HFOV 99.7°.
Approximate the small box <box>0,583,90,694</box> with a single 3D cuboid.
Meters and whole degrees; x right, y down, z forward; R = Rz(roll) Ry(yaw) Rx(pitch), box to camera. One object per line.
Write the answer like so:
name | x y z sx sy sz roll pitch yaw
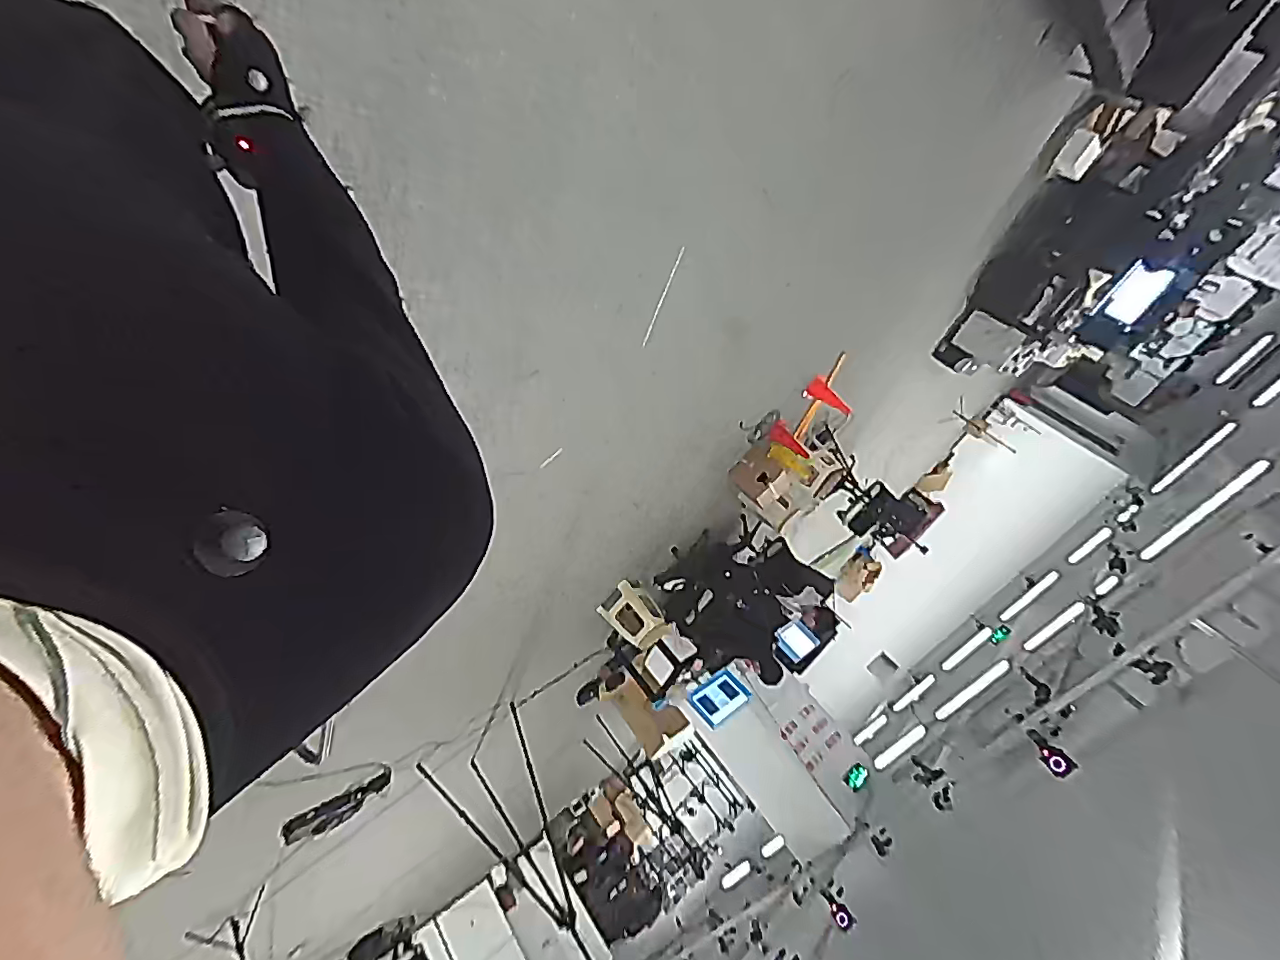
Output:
small box | -1.506 0.388 1.347 0.168 0.176 0.179 -13 138 -46
